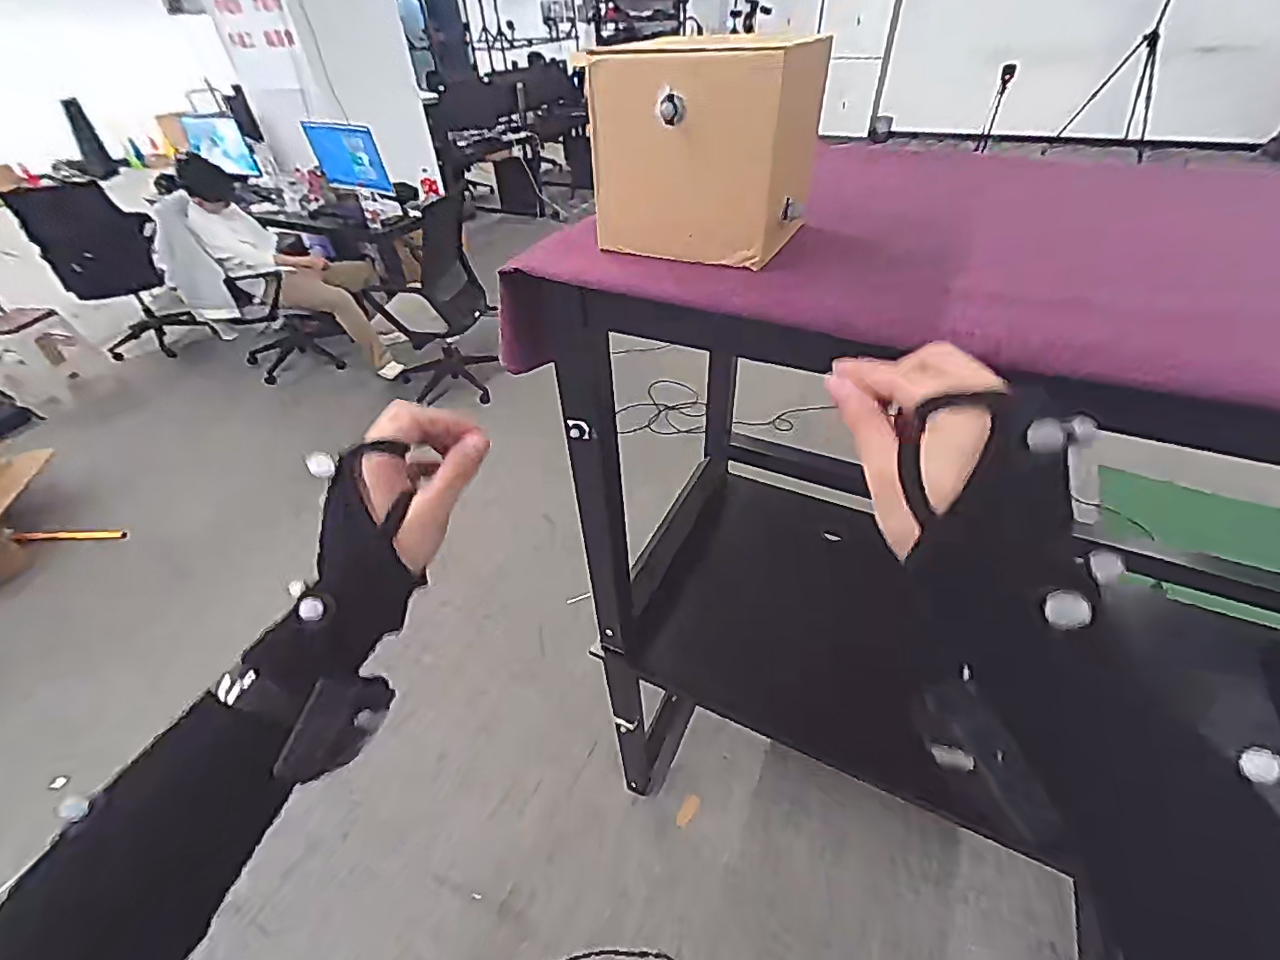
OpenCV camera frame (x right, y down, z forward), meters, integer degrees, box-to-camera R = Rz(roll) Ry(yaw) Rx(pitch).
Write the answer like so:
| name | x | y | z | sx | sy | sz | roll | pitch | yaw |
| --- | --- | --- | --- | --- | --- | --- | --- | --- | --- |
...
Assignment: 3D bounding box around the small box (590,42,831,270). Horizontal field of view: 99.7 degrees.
| name | x | y | z | sx | sy | sz | roll | pitch | yaw |
| --- | --- | --- | --- | --- | --- | --- | --- | --- | --- |
| small box | 0.070 | -0.324 | 0.539 | 0.179 | 0.176 | 0.168 | 17 | 45 | 21 |
